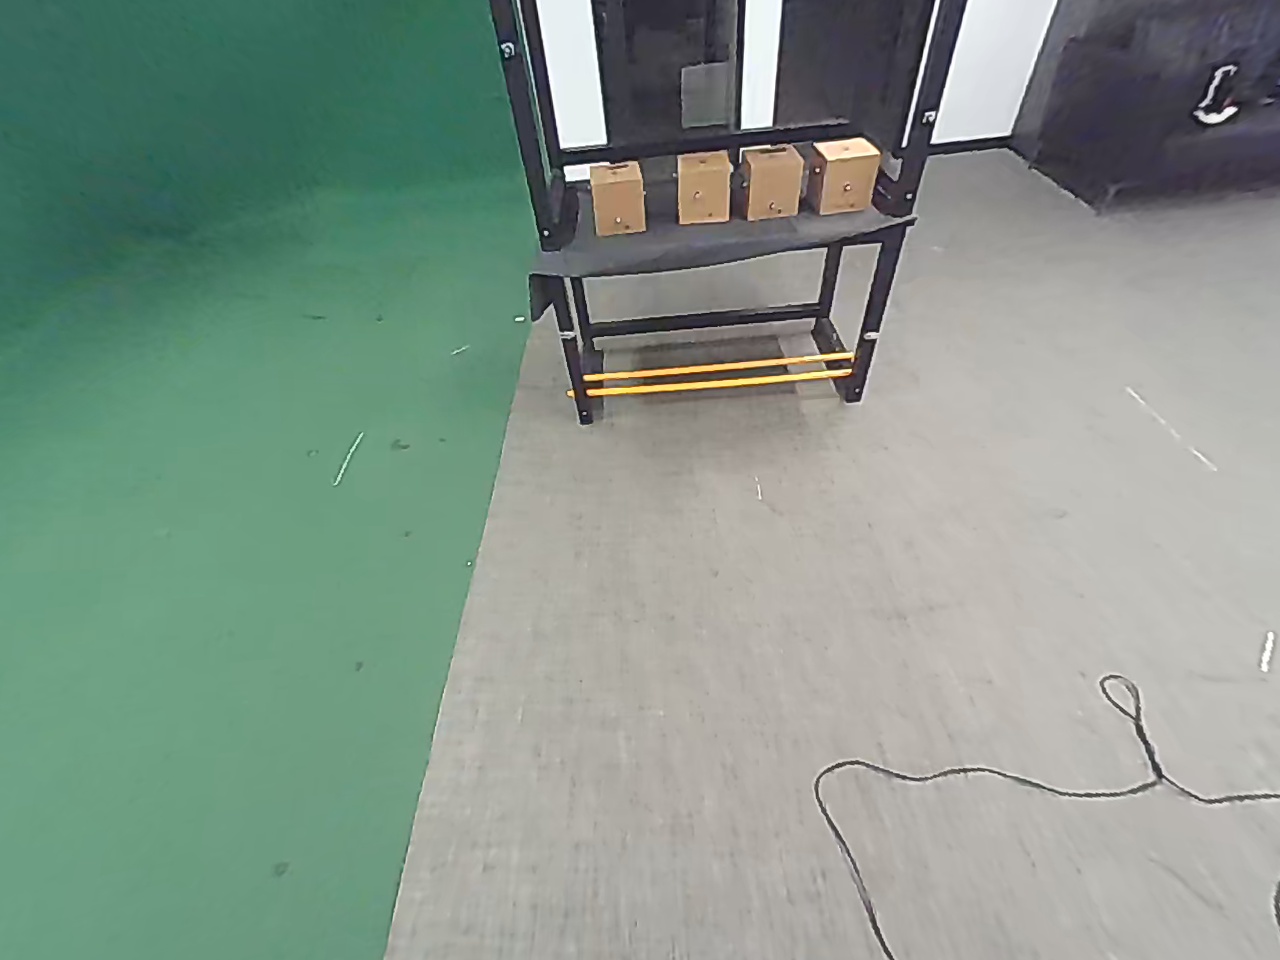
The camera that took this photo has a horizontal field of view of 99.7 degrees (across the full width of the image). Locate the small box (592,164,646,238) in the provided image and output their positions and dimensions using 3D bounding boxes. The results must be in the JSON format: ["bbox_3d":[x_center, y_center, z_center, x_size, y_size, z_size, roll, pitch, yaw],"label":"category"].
[{"bbox_3d":[-0.071,-0.936,1.815,0.168,0.176,0.179,-7,47,0],"label":"small box"}]

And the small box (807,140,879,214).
[{"bbox_3d":[0.661,-0.990,1.778,0.168,0.176,0.179,-6,46,1],"label":"small box"}]

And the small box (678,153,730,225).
[{"bbox_3d":[0.216,-0.976,1.823,0.168,0.176,0.179,-2,46,5],"label":"small box"}]
